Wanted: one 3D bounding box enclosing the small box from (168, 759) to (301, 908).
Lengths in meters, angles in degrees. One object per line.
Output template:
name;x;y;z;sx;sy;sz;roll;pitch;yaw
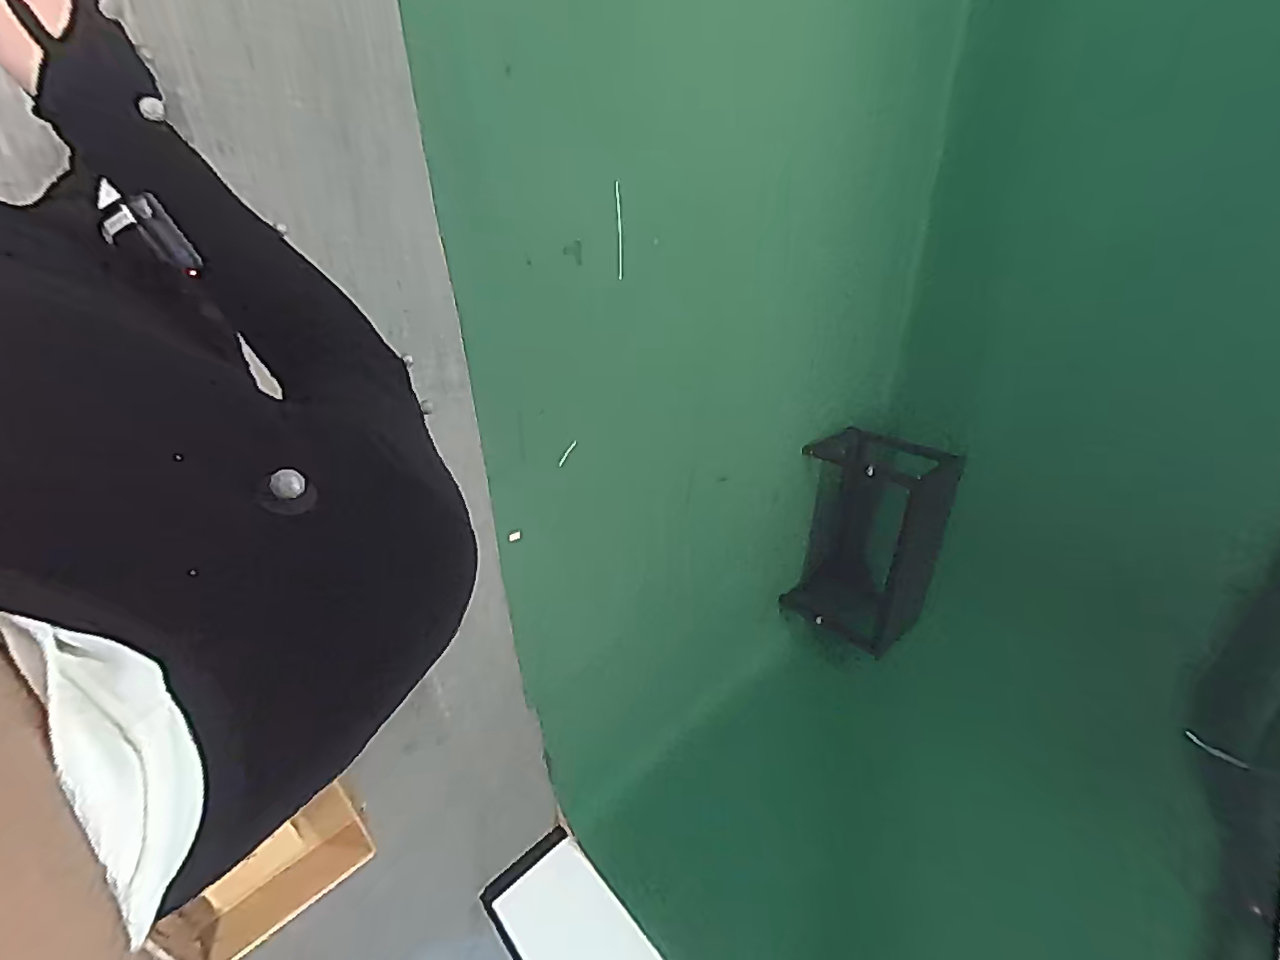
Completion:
small box;-0.882;0.757;1.177;0.179;0.176;0.168;-27;128;-34
